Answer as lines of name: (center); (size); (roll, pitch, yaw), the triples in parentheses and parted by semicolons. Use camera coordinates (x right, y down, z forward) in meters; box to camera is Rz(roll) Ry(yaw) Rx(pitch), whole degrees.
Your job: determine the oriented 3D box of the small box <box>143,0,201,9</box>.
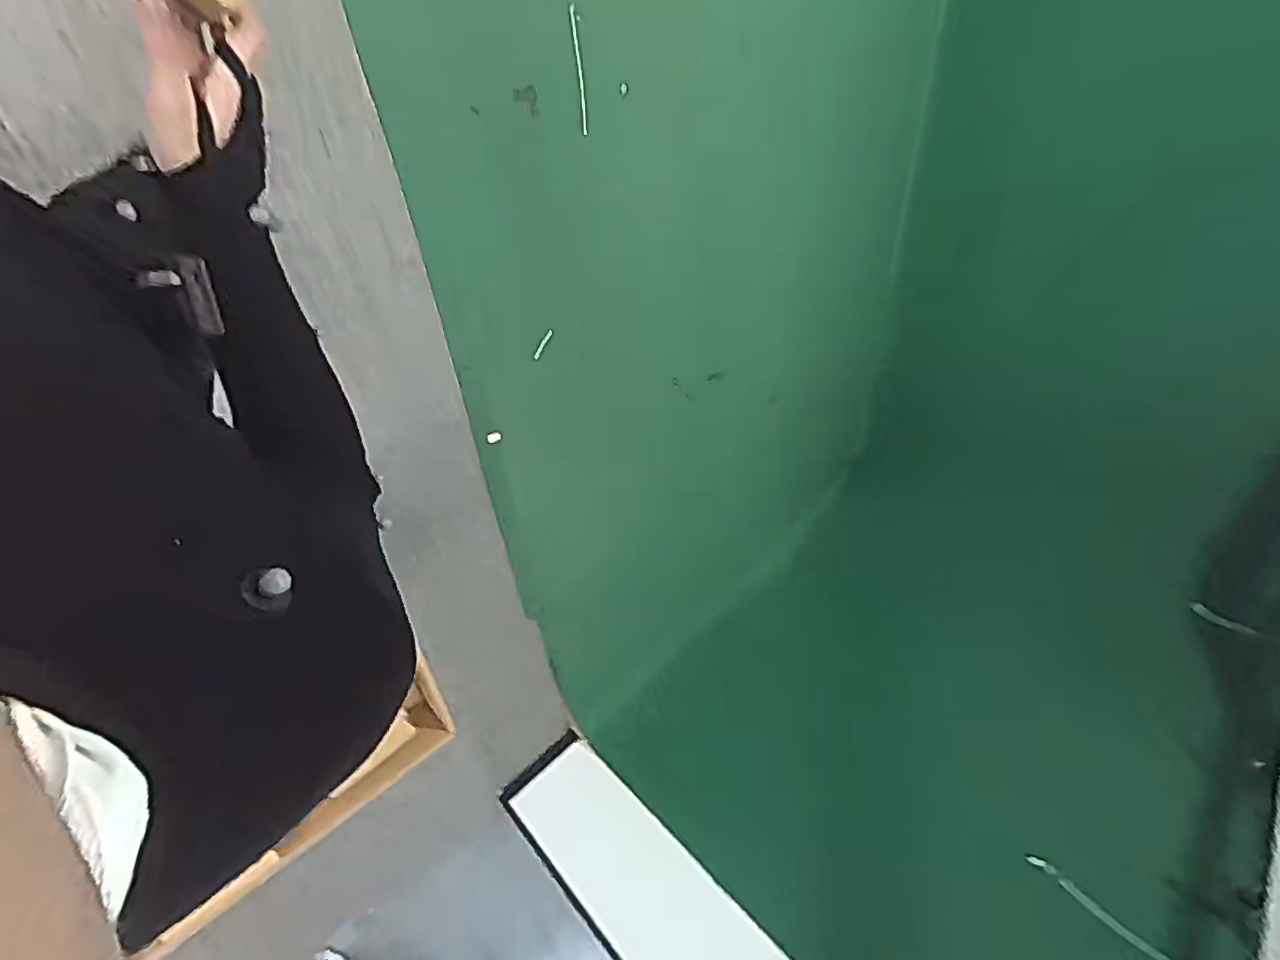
small box: (-0.326, -0.409, 0.299); (0.179, 0.176, 0.168); (13, 106, -53)
